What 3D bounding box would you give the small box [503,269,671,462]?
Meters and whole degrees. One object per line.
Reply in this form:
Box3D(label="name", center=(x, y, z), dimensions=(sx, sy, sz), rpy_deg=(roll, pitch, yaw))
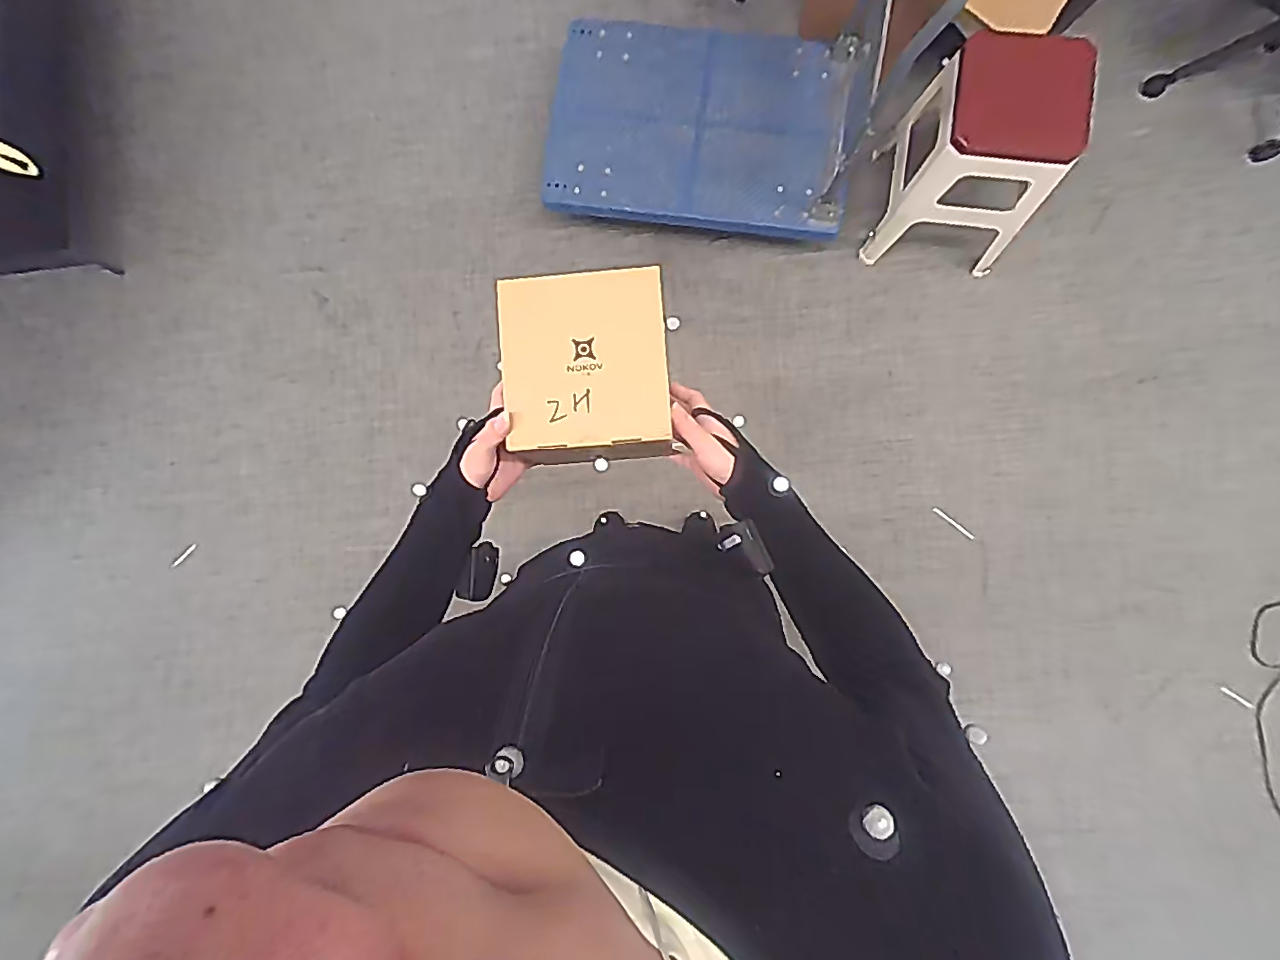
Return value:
Box3D(label="small box", center=(-0.053, -0.119, 0.624), dimensions=(0.168, 0.176, 0.179), rpy_deg=(-4, 87, 2))
